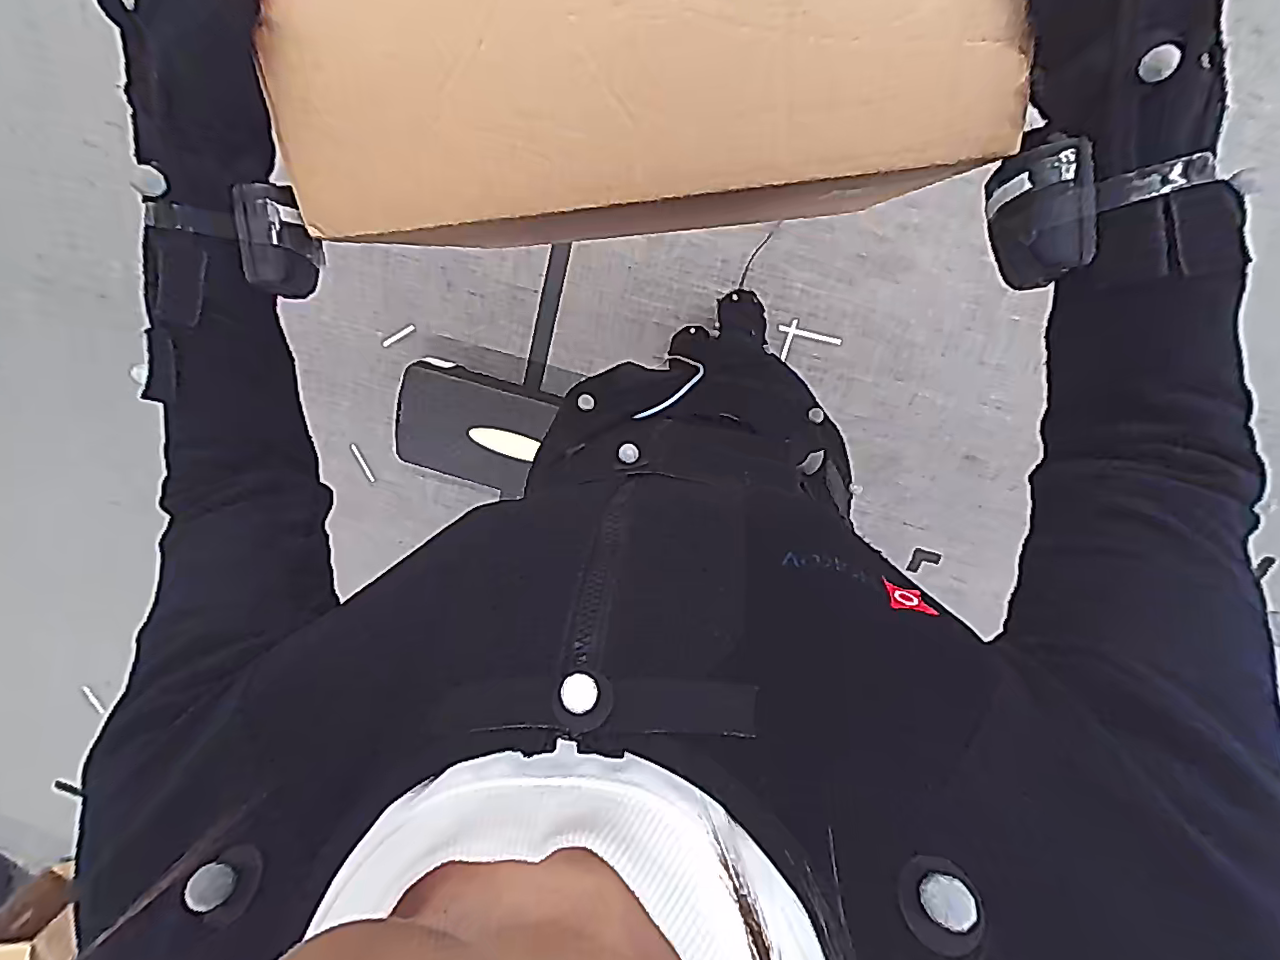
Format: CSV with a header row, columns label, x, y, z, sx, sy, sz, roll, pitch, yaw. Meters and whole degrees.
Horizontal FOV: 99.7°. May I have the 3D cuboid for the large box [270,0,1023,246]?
label,x,y,z,sx,sy,sz,roll,pitch,yaw
large box,0.001,-0.368,0.401,0.408,0.320,0.320,-3,112,9
